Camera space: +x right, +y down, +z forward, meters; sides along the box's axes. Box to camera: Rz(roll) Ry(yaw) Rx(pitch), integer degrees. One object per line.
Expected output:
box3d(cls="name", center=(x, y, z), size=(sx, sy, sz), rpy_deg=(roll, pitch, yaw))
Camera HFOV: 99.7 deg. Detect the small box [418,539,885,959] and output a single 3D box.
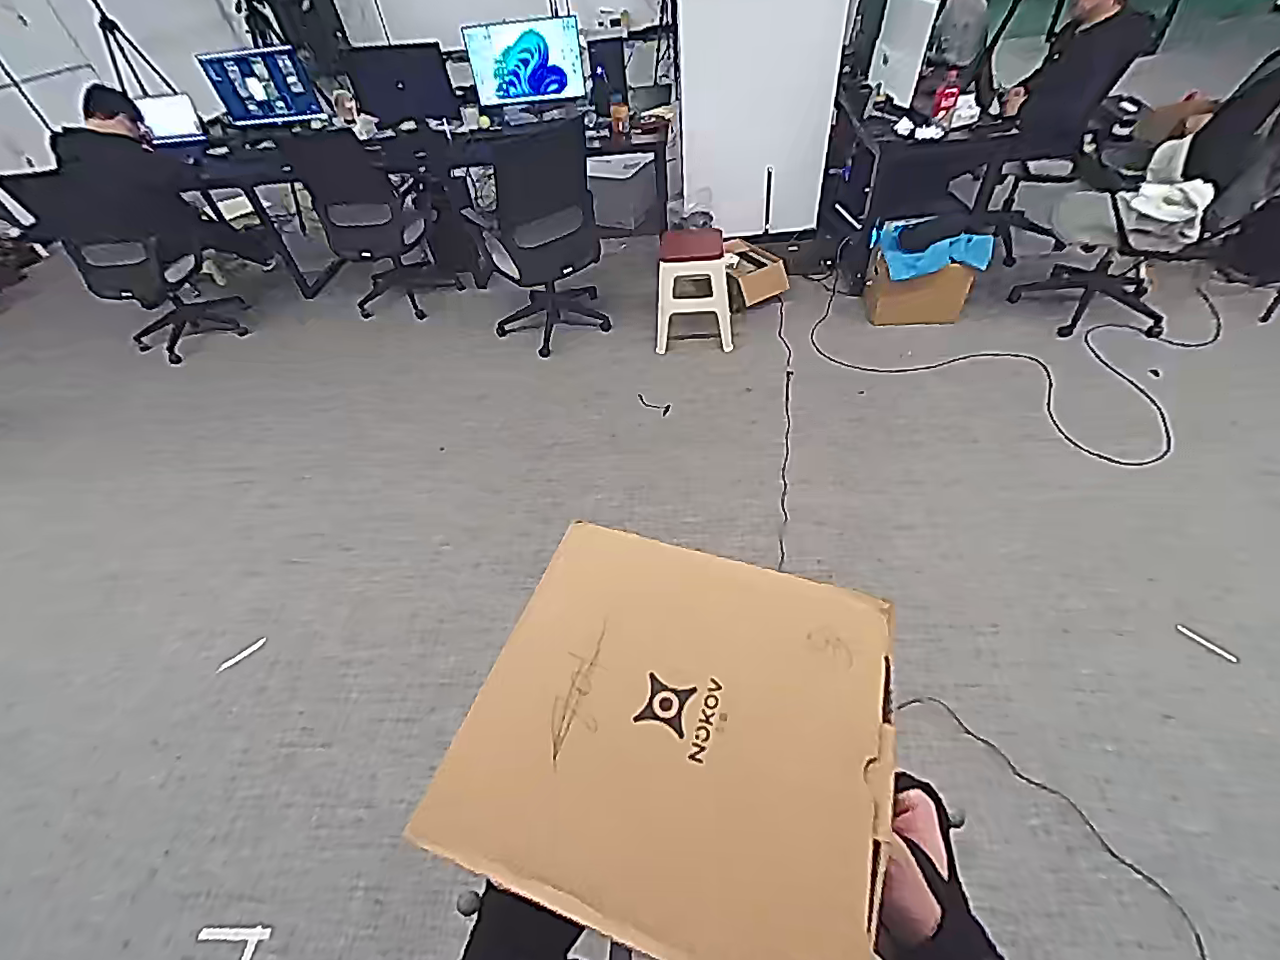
box3d(cls="small box", center=(0.021, 0.163, 0.306), size=(0.179, 0.176, 0.168), rpy_deg=(11, 50, 16))
